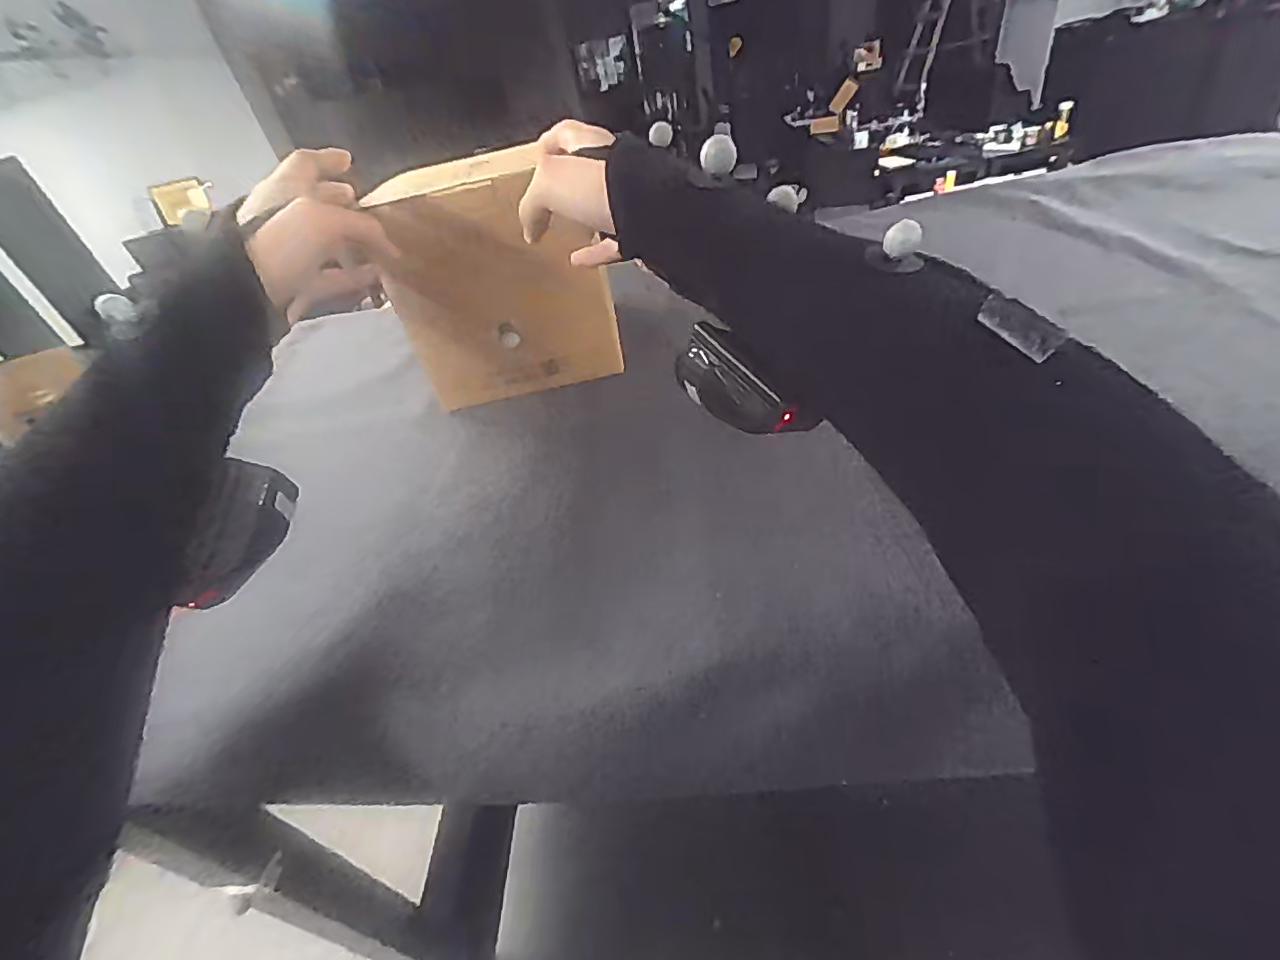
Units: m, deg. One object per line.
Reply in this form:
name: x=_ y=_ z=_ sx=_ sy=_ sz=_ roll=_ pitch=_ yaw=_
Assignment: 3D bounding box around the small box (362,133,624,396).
small box: x=-0.113 y=-0.199 z=0.496 sx=0.168 sy=0.176 sz=0.179 roll=-11 pitch=38 yaw=3
